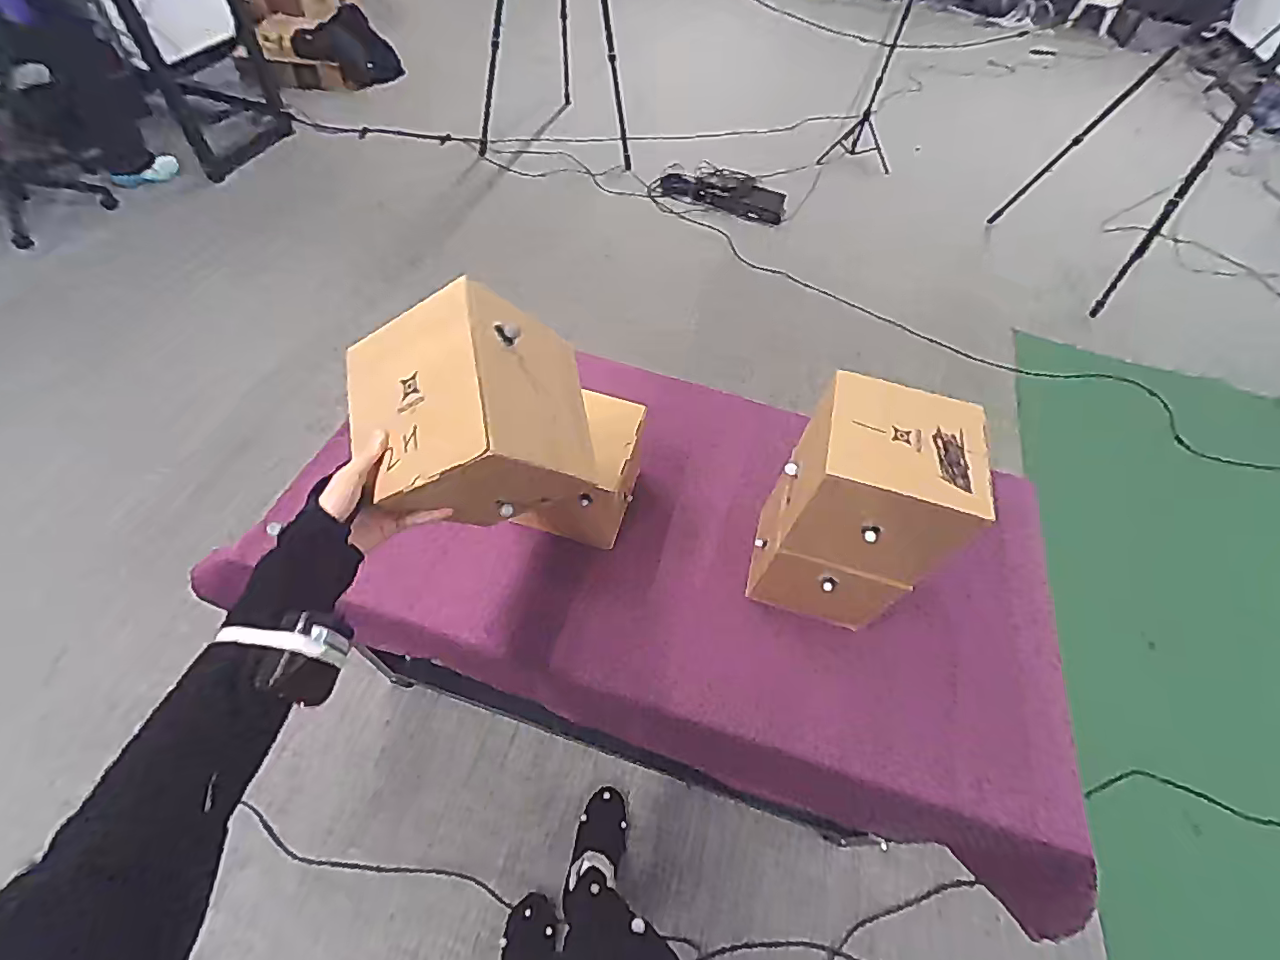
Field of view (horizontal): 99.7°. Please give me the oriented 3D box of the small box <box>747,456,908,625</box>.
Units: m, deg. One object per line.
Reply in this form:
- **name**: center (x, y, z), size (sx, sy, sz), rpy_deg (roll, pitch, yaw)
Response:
- **small box**: center (0.269, 0.093, 0.795), size (0.179, 0.176, 0.168), rpy_deg (17, 56, 5)

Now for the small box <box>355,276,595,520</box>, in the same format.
- **small box**: center (-0.166, -0.069, 0.565), size (0.168, 0.176, 0.179), rpy_deg (-19, 72, 23)

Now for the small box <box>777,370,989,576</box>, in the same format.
- **small box**: center (0.285, -0.001, 0.661), size (0.179, 0.176, 0.168), rpy_deg (16, 56, 6)

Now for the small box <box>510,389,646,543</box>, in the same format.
- **small box**: center (-0.102, -0.024, 0.835), size (0.179, 0.176, 0.168), rpy_deg (16, 55, 4)
